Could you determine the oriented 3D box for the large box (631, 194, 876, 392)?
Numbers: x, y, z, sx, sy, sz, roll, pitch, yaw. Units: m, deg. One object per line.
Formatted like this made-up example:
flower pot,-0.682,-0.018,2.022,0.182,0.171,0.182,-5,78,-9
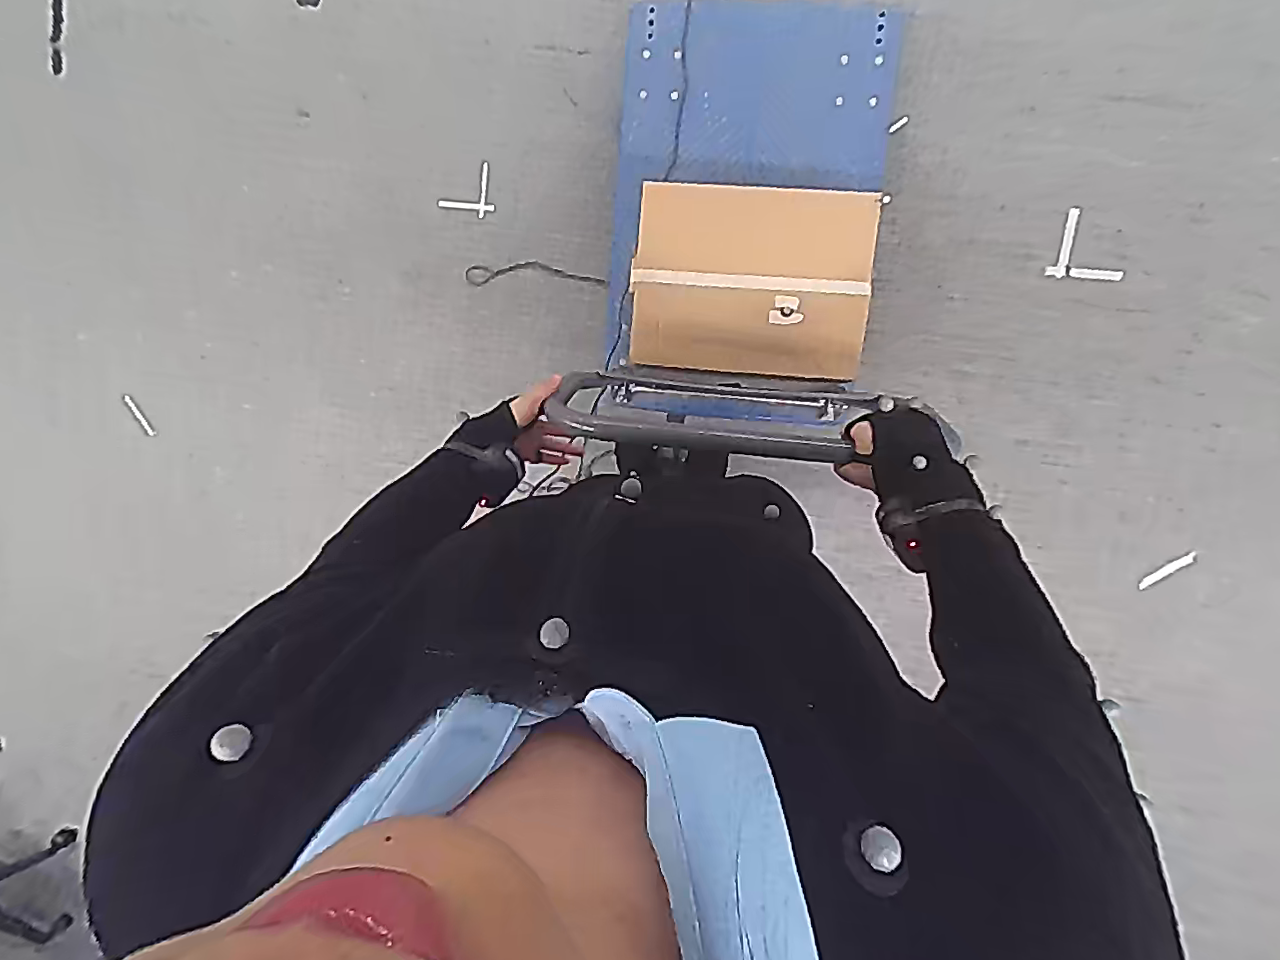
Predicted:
large box,0.201,-0.349,1.090,0.408,0.320,0.320,6,99,4
